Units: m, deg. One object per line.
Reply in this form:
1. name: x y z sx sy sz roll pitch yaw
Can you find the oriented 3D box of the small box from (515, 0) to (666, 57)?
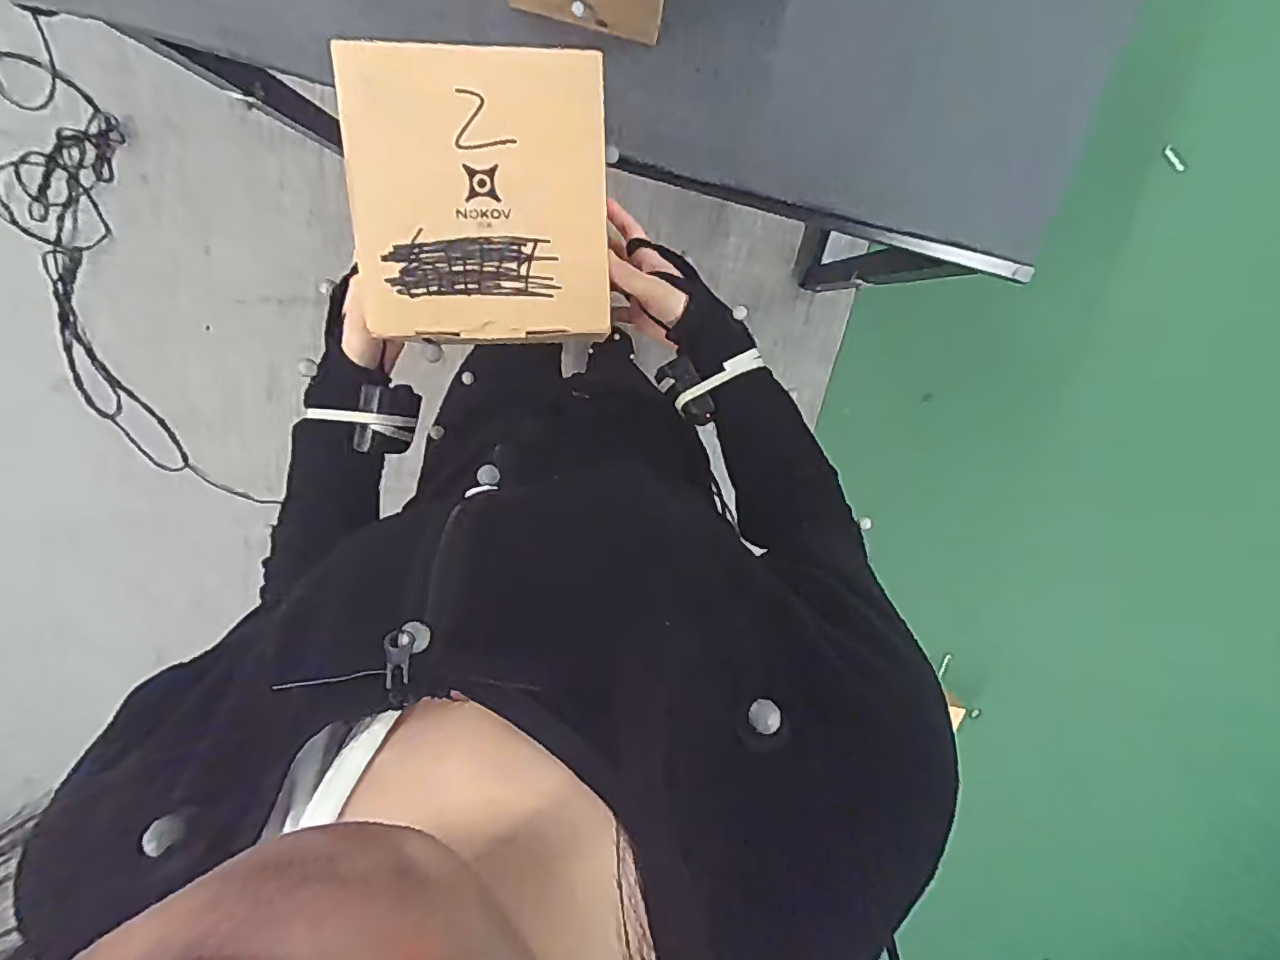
1. small box: -0.040 -0.554 0.508 0.168 0.176 0.179 11 105 -6
